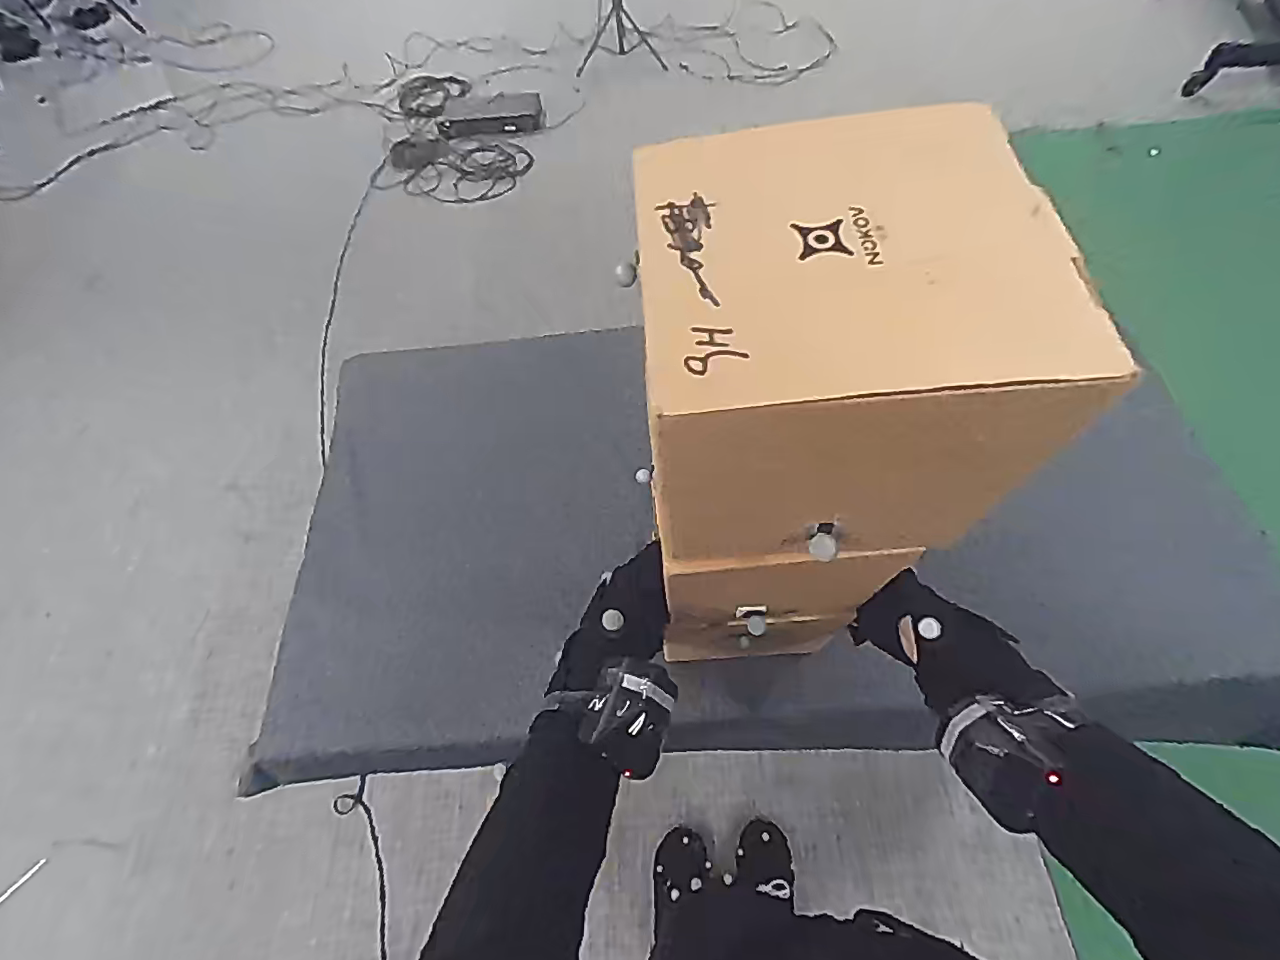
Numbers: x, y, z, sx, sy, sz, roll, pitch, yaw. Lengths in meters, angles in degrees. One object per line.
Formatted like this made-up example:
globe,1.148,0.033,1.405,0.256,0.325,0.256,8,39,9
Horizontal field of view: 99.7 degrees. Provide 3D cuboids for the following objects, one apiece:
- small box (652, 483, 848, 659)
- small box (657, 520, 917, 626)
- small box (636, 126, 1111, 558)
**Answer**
small box,0.109,0.101,0.610,0.179,0.176,0.168,-5,63,2
small box,0.096,0.012,0.455,0.168,0.176,0.179,-6,63,2
small box,0.092,-0.063,0.310,0.179,0.176,0.168,-5,61,3
